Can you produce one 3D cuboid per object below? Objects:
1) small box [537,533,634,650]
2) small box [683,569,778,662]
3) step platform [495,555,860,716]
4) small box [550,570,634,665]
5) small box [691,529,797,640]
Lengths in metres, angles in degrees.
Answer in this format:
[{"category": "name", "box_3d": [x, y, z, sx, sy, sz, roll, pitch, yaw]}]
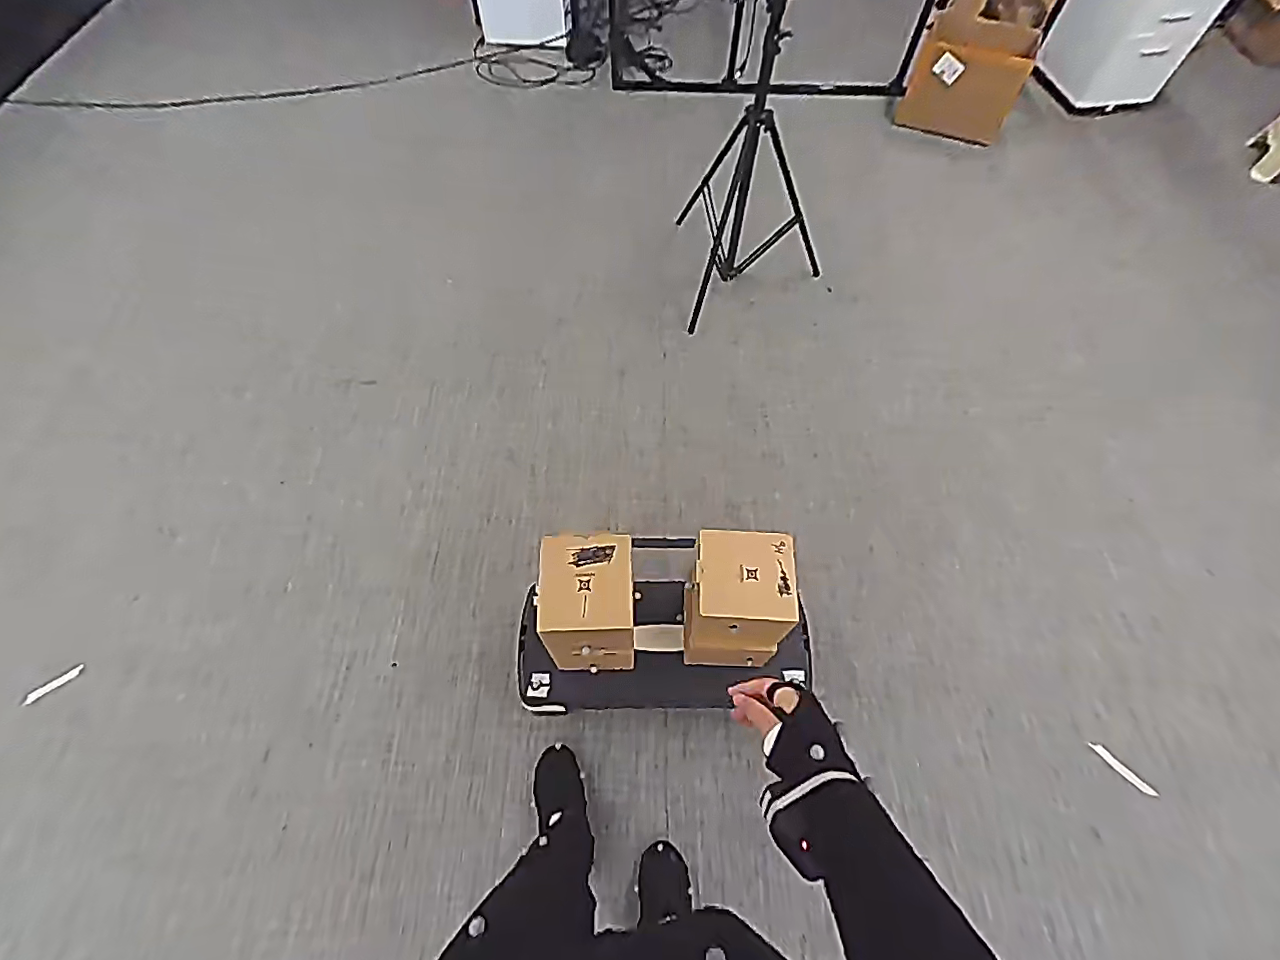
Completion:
[{"category": "small box", "box_3d": [-0.096, 0.214, 1.021, 0.168, 0.176, 0.179, -1, 62, -2]}, {"category": "small box", "box_3d": [0.184, 0.299, 1.168, 0.179, 0.176, 0.168, 0, 60, 0]}, {"category": "step platform", "box_3d": [0.069, 0.323, 1.111, 0.684, 0.204, 0.286, 0, 61, -1]}, {"category": "small box", "box_3d": [-0.096, 0.298, 1.163, 0.168, 0.176, 0.179, 0, 61, -1]}, {"category": "small box", "box_3d": [0.189, 0.204, 1.035, 0.179, 0.176, 0.168, 2, 61, 2]}]
